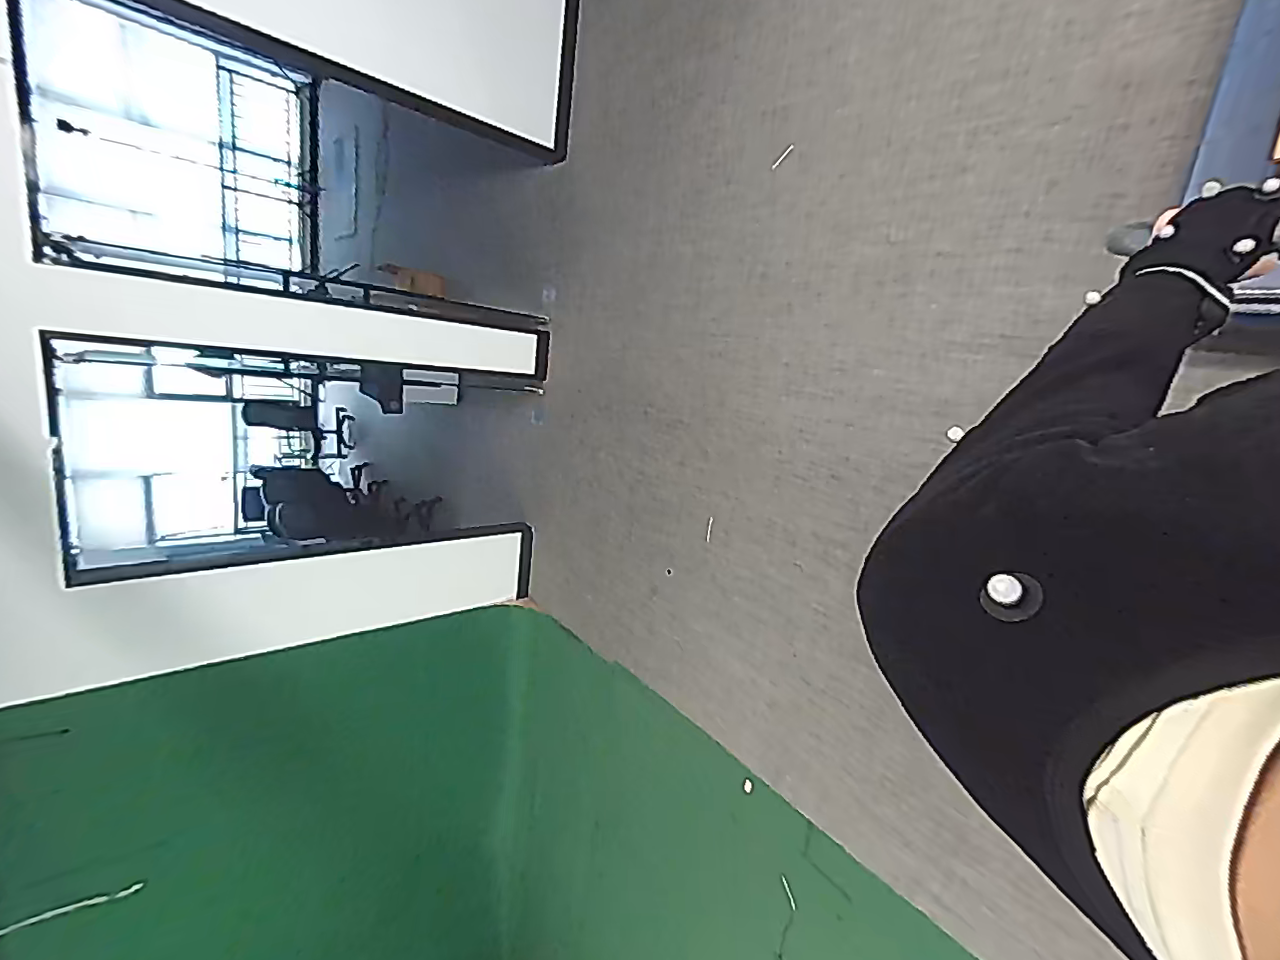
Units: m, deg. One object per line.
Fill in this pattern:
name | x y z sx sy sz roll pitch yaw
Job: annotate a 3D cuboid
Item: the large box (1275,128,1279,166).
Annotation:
large box | 1.143 -0.630 0.725 0.320 0.320 0.408 17 105 48
